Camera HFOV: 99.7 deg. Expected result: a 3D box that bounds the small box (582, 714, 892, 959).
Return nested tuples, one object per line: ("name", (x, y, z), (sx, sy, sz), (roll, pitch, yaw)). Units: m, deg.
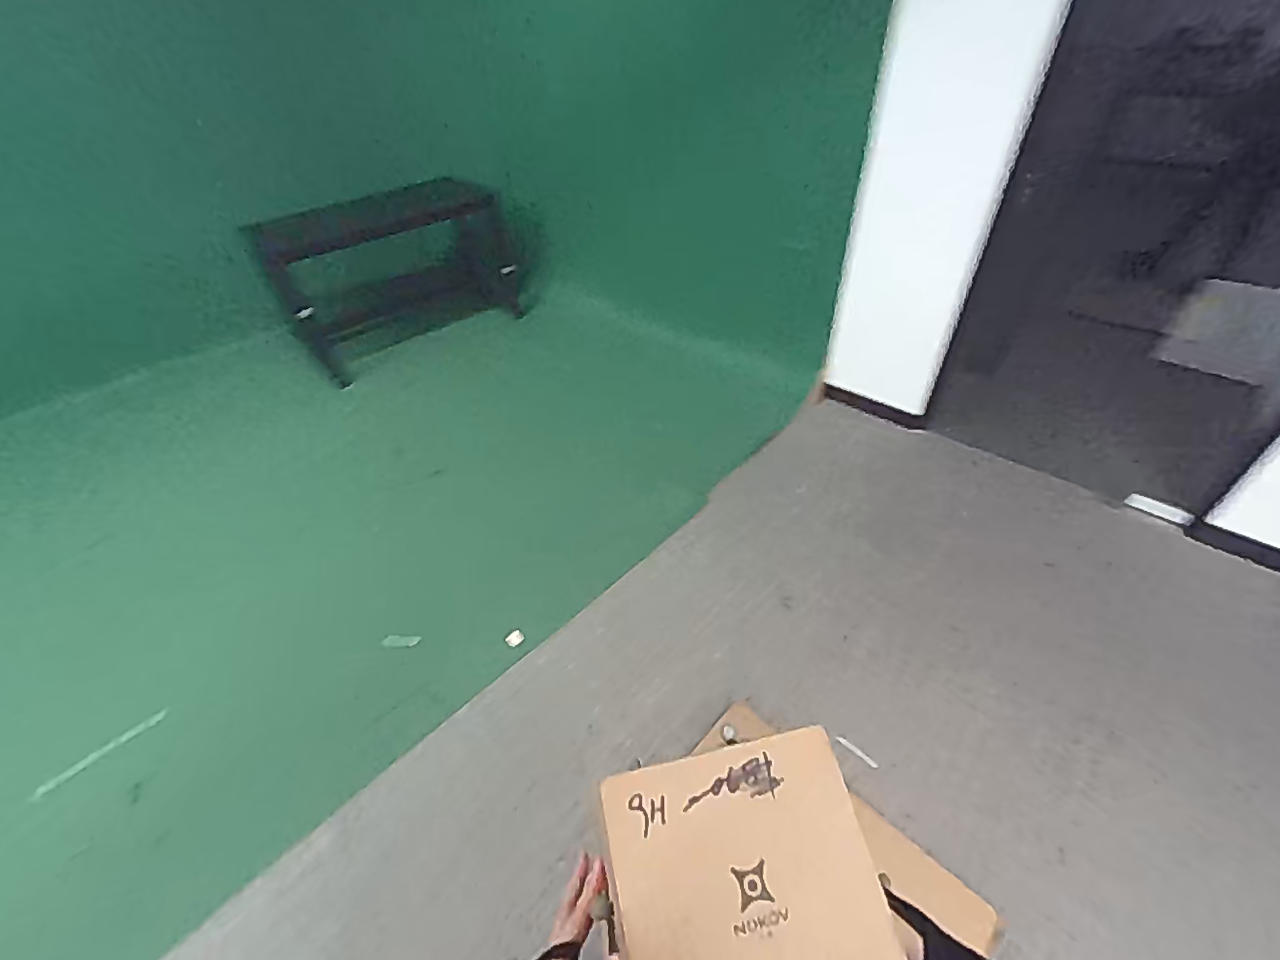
("small box", (0.052, 0.289, 0.402), (0.168, 0.176, 0.179), (-8, 63, -12))
